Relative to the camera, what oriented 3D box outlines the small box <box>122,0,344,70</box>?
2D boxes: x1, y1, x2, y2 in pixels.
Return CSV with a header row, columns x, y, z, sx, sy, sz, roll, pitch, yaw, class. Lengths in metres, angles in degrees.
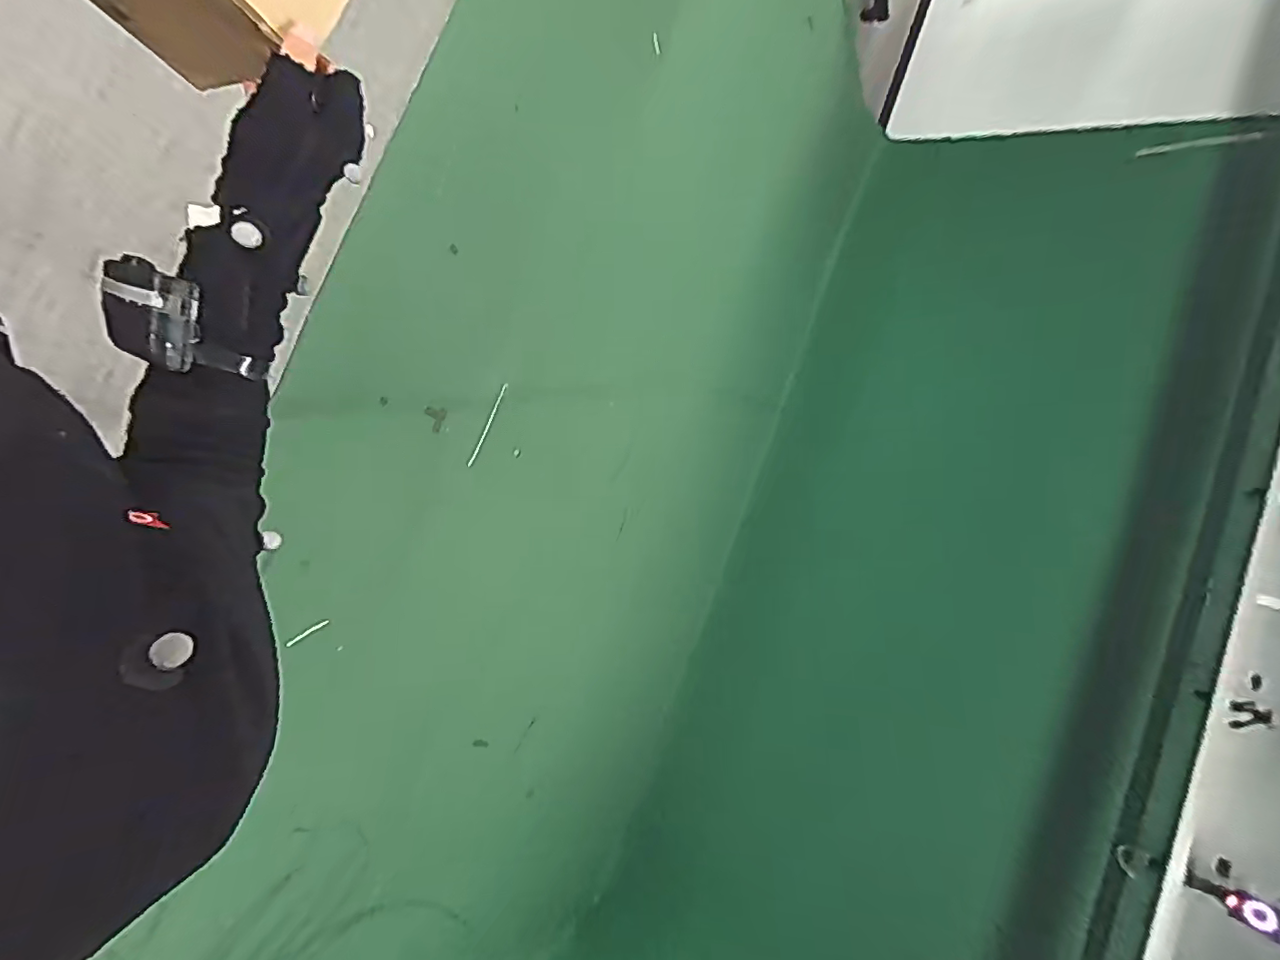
x,y,z,sx,sy,sz,roll,pitch,yaw,class
-0.285,-0.403,0.339,0.168,0.176,0.179,35,74,-60,small box
